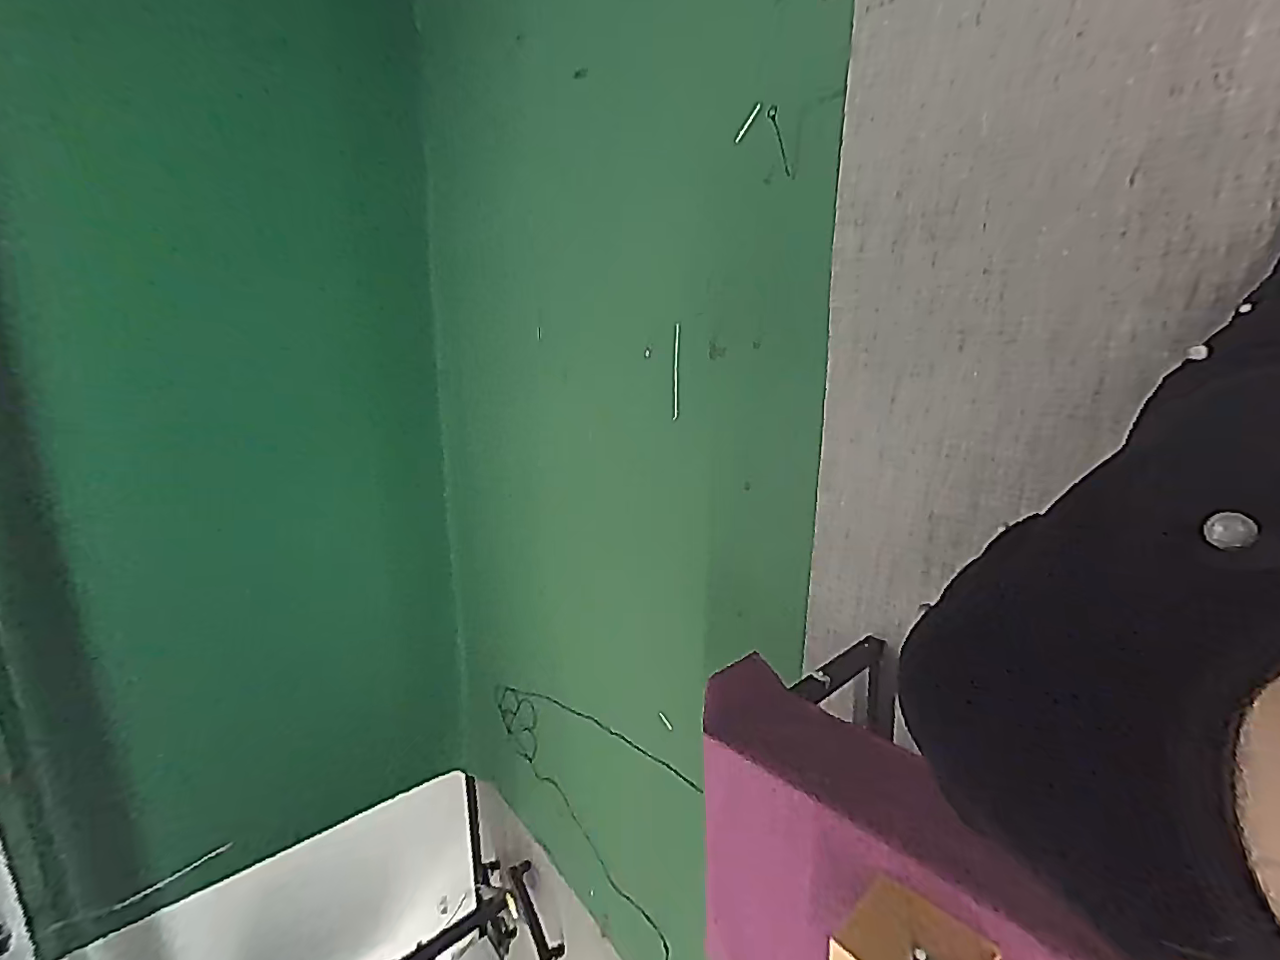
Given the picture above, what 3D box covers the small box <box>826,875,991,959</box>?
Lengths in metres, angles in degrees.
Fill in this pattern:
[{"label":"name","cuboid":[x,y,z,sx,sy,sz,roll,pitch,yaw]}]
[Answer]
[{"label":"small box","cuboid":[0.399,0.749,0.807,0.179,0.176,0.168,8,104,48]}]
